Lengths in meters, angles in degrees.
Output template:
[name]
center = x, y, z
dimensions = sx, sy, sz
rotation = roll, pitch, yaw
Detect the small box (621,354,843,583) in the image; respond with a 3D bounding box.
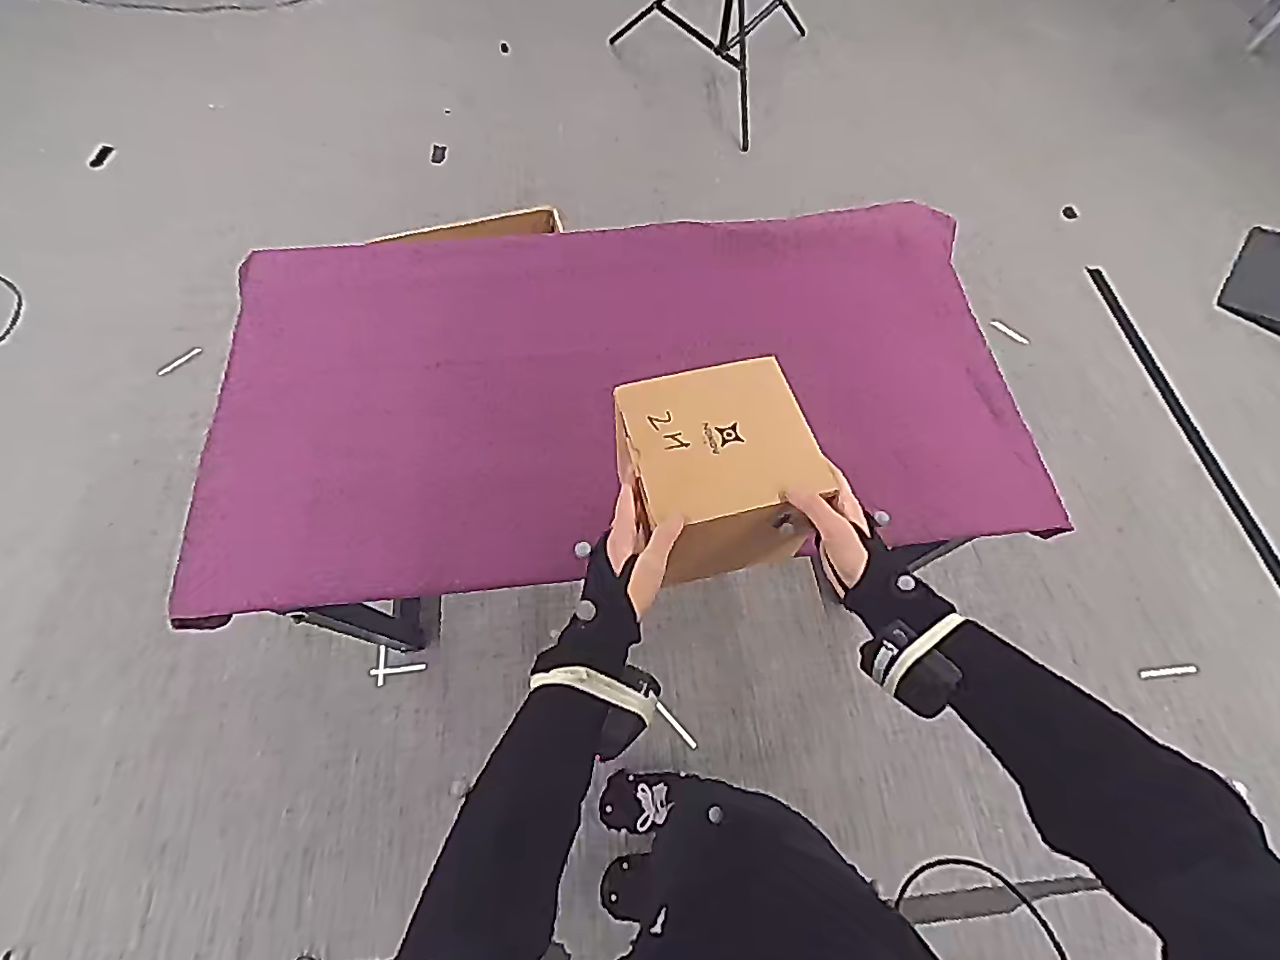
[small box]
center = 0.080, -0.005, 0.581
dimensions = 0.179, 0.176, 0.168
rotation = -12, 62, -7
